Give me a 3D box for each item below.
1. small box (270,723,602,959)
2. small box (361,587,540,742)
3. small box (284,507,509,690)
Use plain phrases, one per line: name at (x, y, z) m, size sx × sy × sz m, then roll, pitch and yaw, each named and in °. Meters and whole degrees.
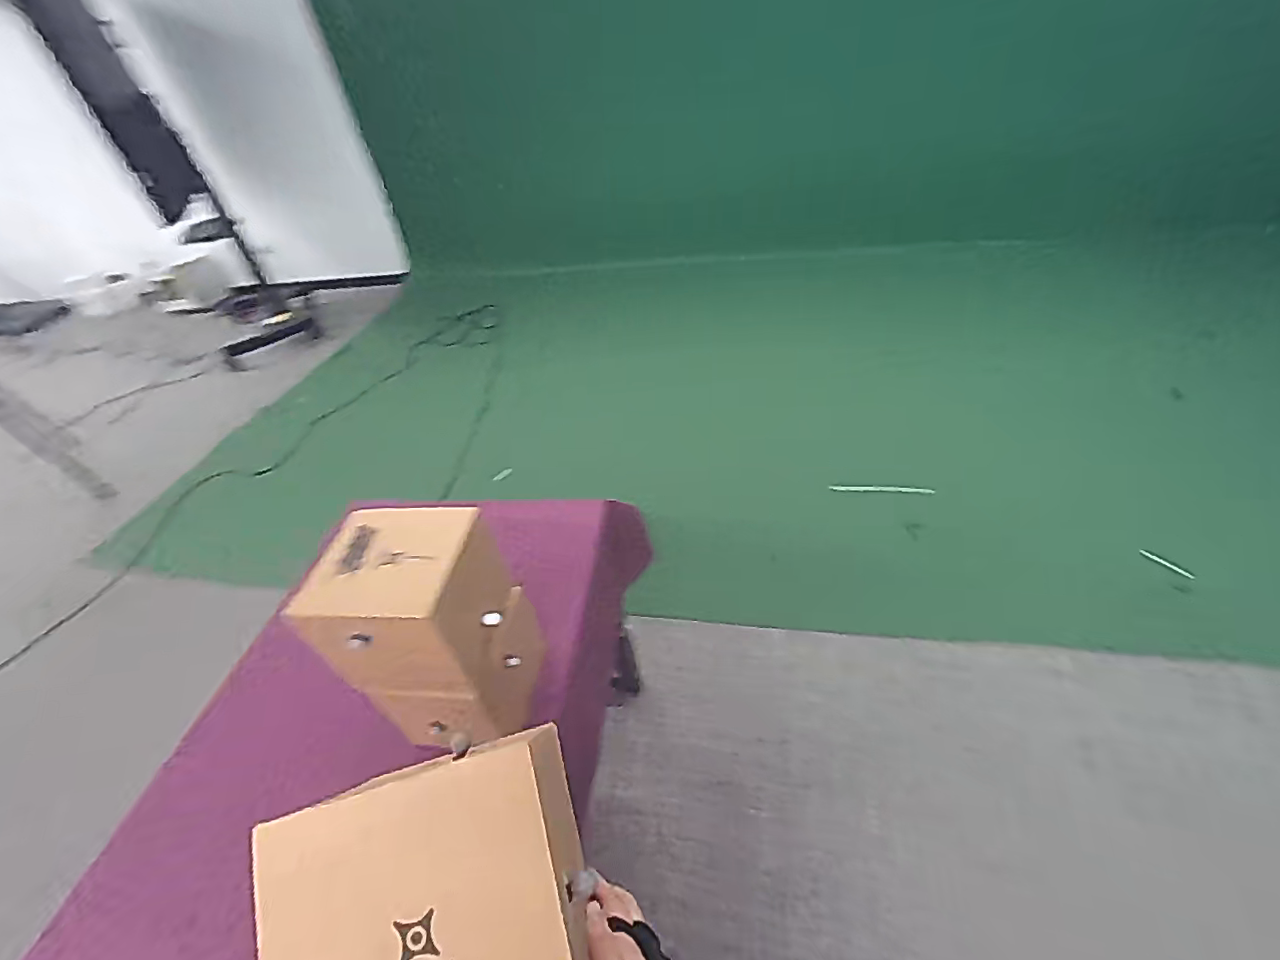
small box at (-0.124, 0.282, 0.379) m, size 0.168 × 0.176 × 0.179 m, roll -13°, pitch 72°, yaw -7°
small box at (-0.262, 0.275, 0.799) m, size 0.168 × 0.176 × 0.179 m, roll 0°, pitch 42°, yaw 11°
small box at (-0.292, 0.152, 0.693) m, size 0.179 × 0.176 × 0.168 m, roll -1°, pitch 42°, yaw 9°
